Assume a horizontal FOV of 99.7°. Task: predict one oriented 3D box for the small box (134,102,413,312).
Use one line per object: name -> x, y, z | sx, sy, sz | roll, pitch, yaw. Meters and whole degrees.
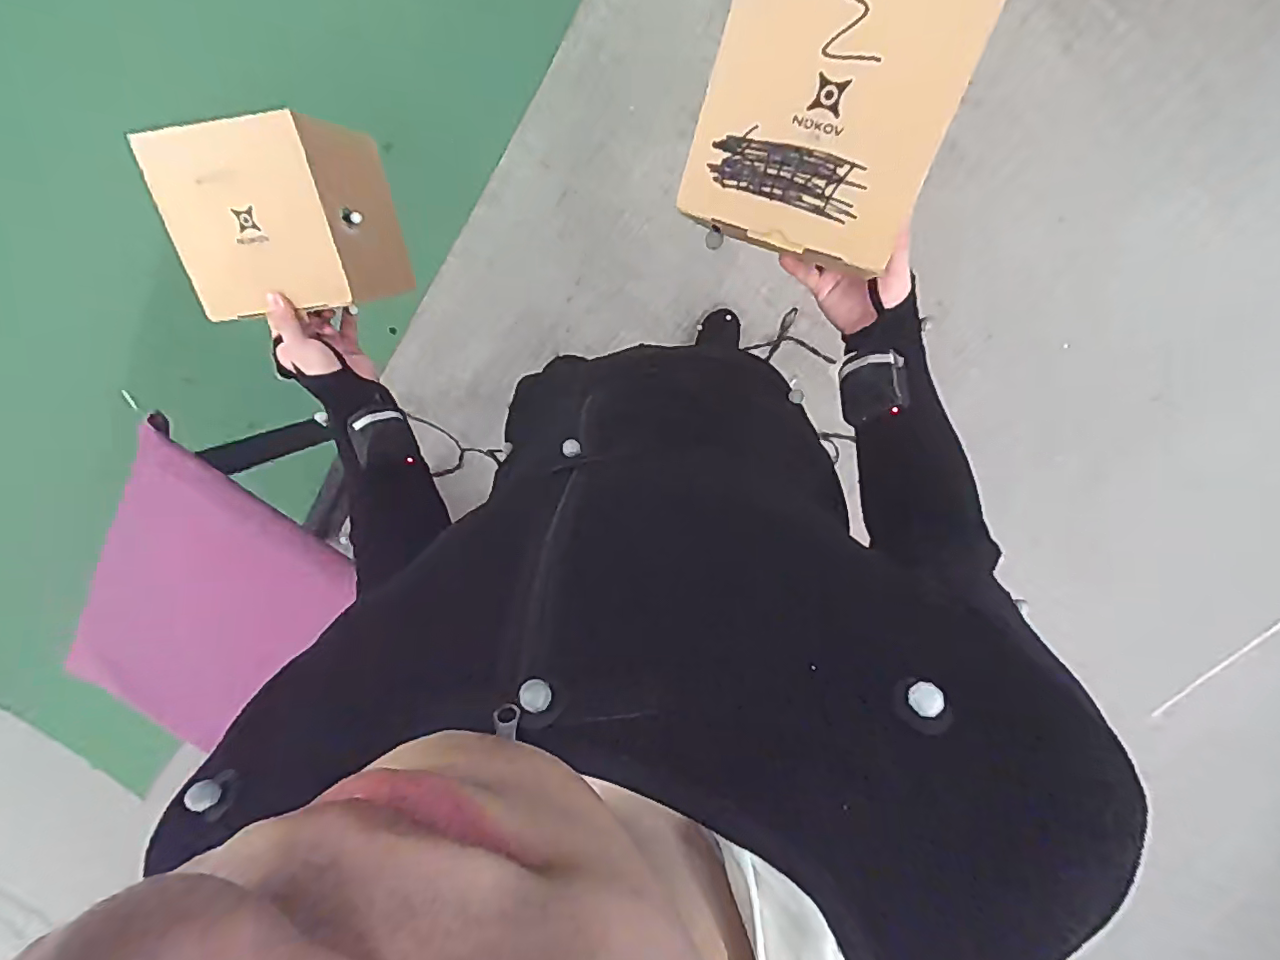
small box -> -0.381, -0.295, 0.605 | 0.168, 0.176, 0.179 | -5, 114, 4
